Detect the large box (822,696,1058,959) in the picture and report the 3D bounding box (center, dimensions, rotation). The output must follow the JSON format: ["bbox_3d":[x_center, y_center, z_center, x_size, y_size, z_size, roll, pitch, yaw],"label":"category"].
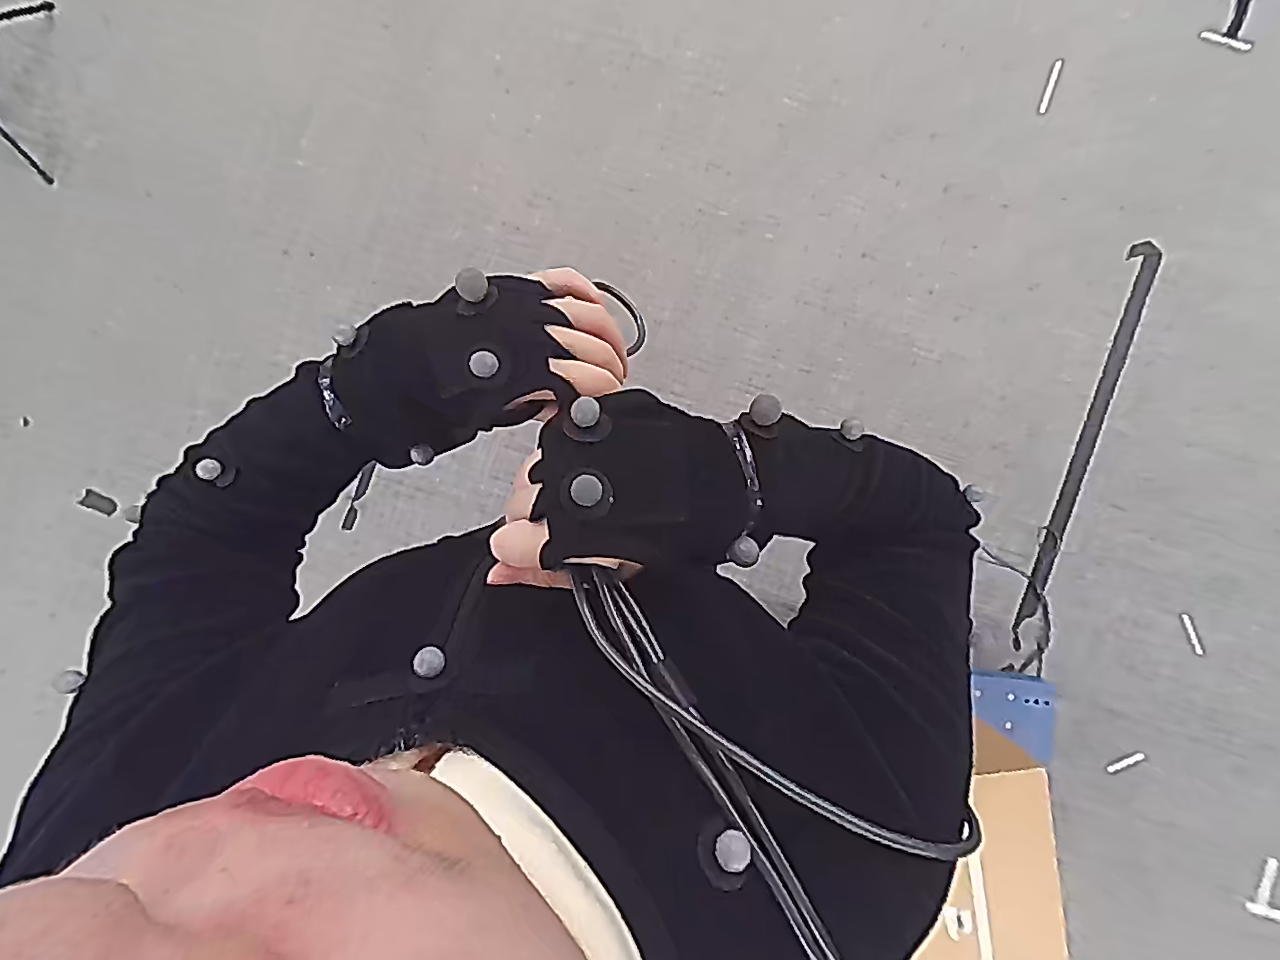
[{"bbox_3d":[0.612,0.736,1.161,0.320,0.320,0.408,-6,90,1],"label":"large box"}]
